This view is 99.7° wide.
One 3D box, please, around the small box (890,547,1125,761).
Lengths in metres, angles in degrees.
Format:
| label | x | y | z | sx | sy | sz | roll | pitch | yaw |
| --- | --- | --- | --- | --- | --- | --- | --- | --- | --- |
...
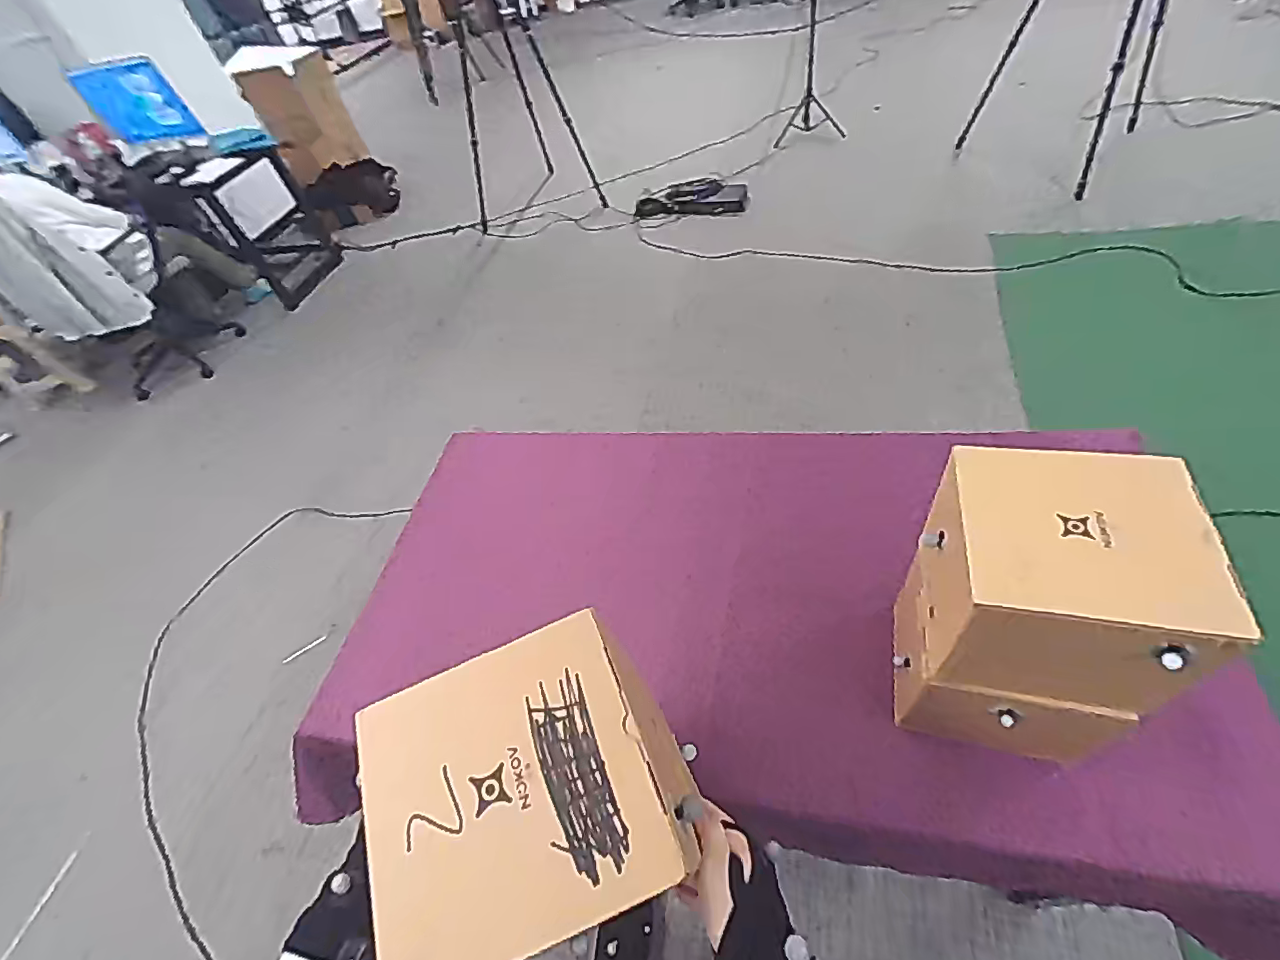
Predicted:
| label | x | y | z | sx | sy | sz | roll | pitch | yaw |
| --- | --- | --- | --- | --- | --- | --- | --- | --- | --- |
| small box | 0.392 | 0.199 | 0.616 | 0.179 | 0.176 | 0.168 | 7 | 53 | 18 |

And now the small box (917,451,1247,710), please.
| label | x | y | z | sx | sy | sz | roll | pitch | yaw |
| --- | --- | --- | --- | --- | --- | --- | --- | --- | --- |
| small box | 0.364 | 0.093 | 0.497 | 0.179 | 0.176 | 0.168 | 5 | 53 | 17 |

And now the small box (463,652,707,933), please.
| label | x | y | z | sx | sy | sz | roll | pitch | yaw |
| --- | --- | --- | --- | --- | --- | --- | --- | --- | --- |
| small box | -0.046 | 0.304 | 0.540 | 0.179 | 0.176 | 0.168 | -25 | 57 | -7 |
